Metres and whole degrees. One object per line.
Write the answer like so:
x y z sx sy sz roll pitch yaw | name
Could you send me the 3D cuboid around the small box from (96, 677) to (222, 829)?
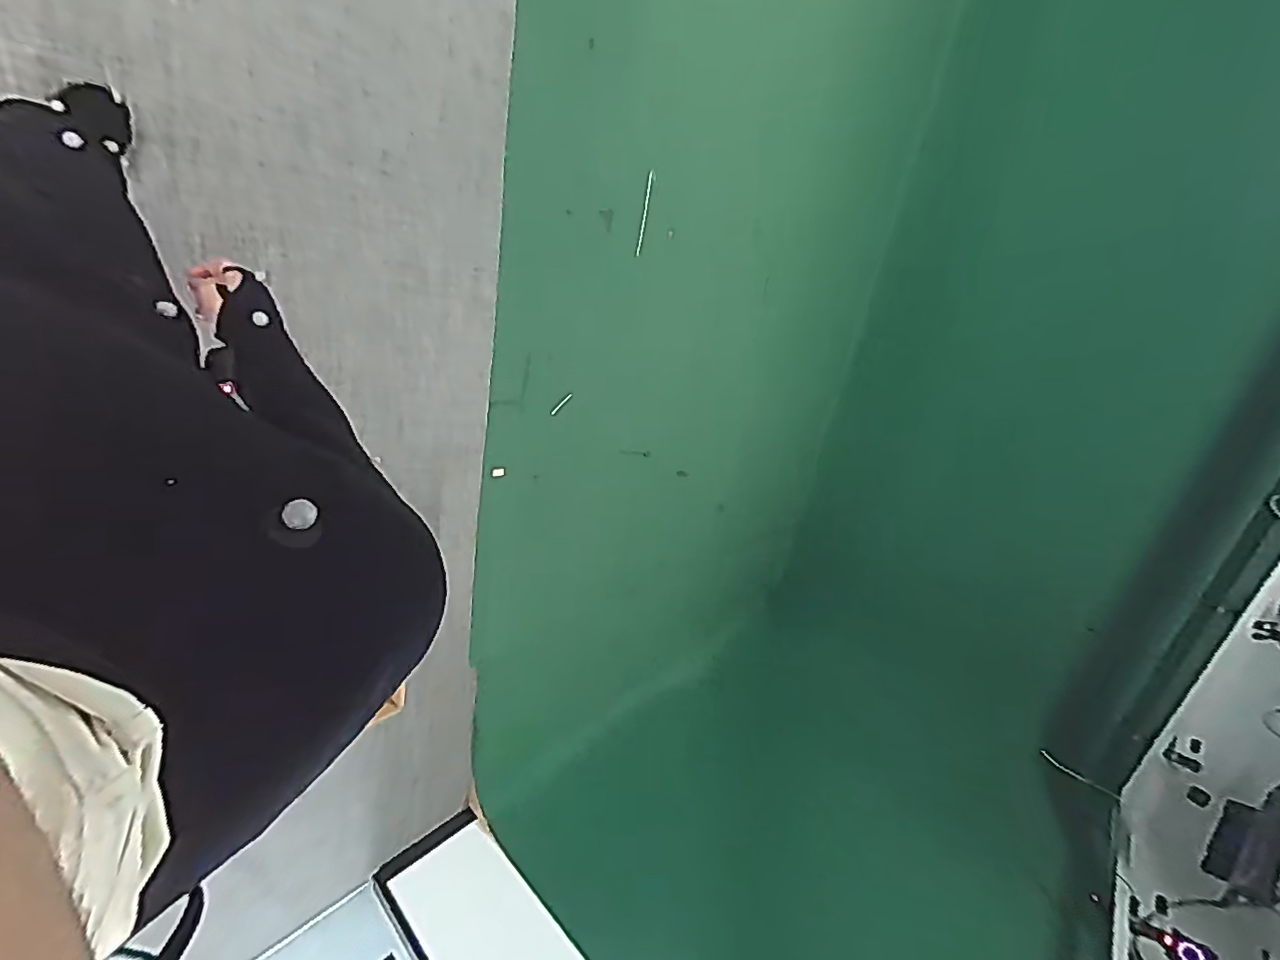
-0.962 0.535 1.084 0.168 0.176 0.179 -10 118 -47 | small box
